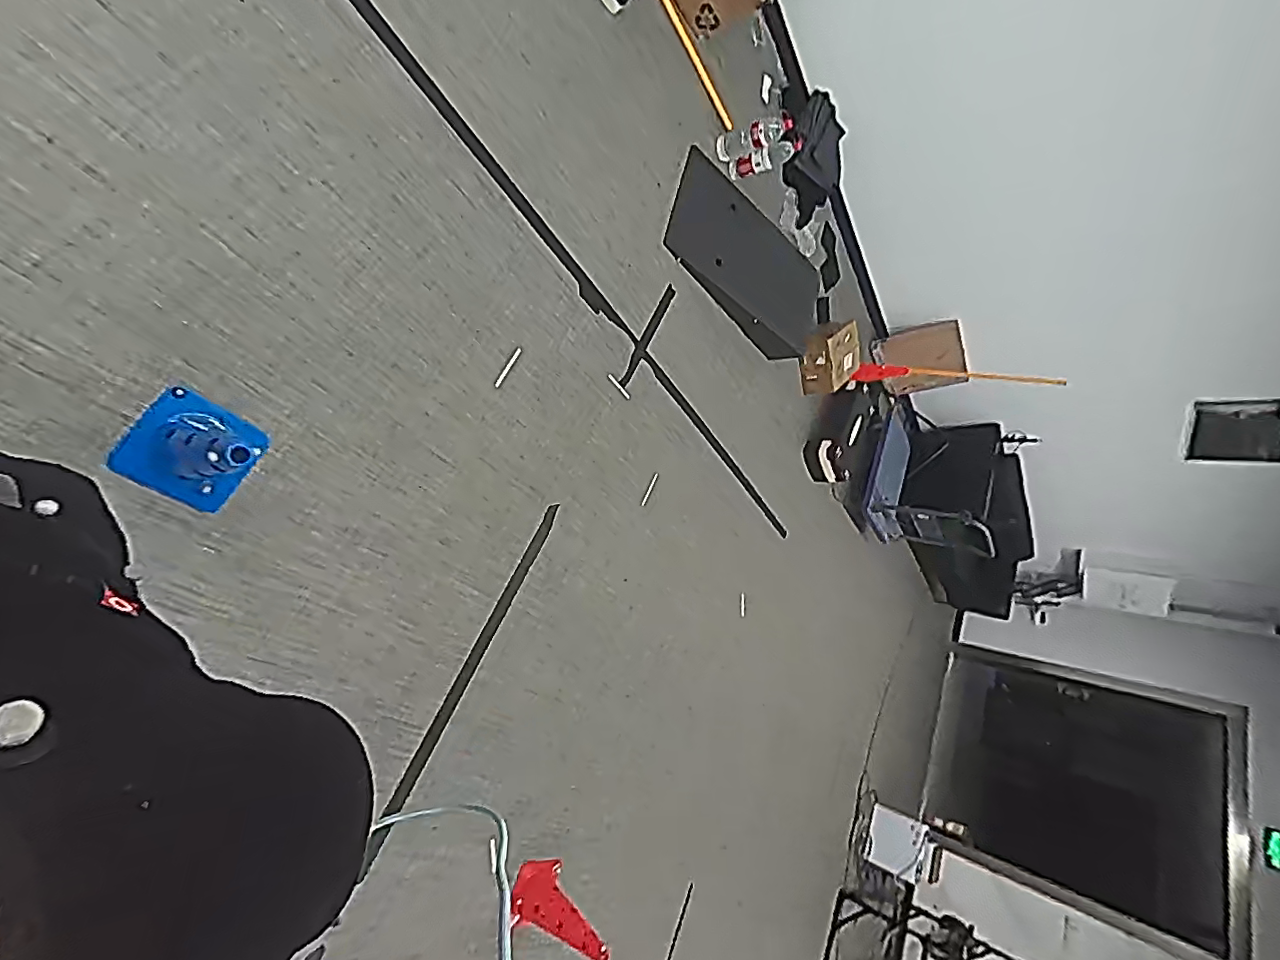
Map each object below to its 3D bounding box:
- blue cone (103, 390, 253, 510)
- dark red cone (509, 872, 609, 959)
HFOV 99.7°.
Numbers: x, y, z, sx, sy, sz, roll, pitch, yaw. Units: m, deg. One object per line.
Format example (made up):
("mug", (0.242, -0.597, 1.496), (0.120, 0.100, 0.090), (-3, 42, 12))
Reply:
("blue cone", (-0.781, -0.047, 0.963), (0.192, 0.380, 0.193), (46, 60, -40))
("dark red cone", (-0.220, 1.443, 1.715), (0.201, 0.394, 0.202), (35, 67, -44))
